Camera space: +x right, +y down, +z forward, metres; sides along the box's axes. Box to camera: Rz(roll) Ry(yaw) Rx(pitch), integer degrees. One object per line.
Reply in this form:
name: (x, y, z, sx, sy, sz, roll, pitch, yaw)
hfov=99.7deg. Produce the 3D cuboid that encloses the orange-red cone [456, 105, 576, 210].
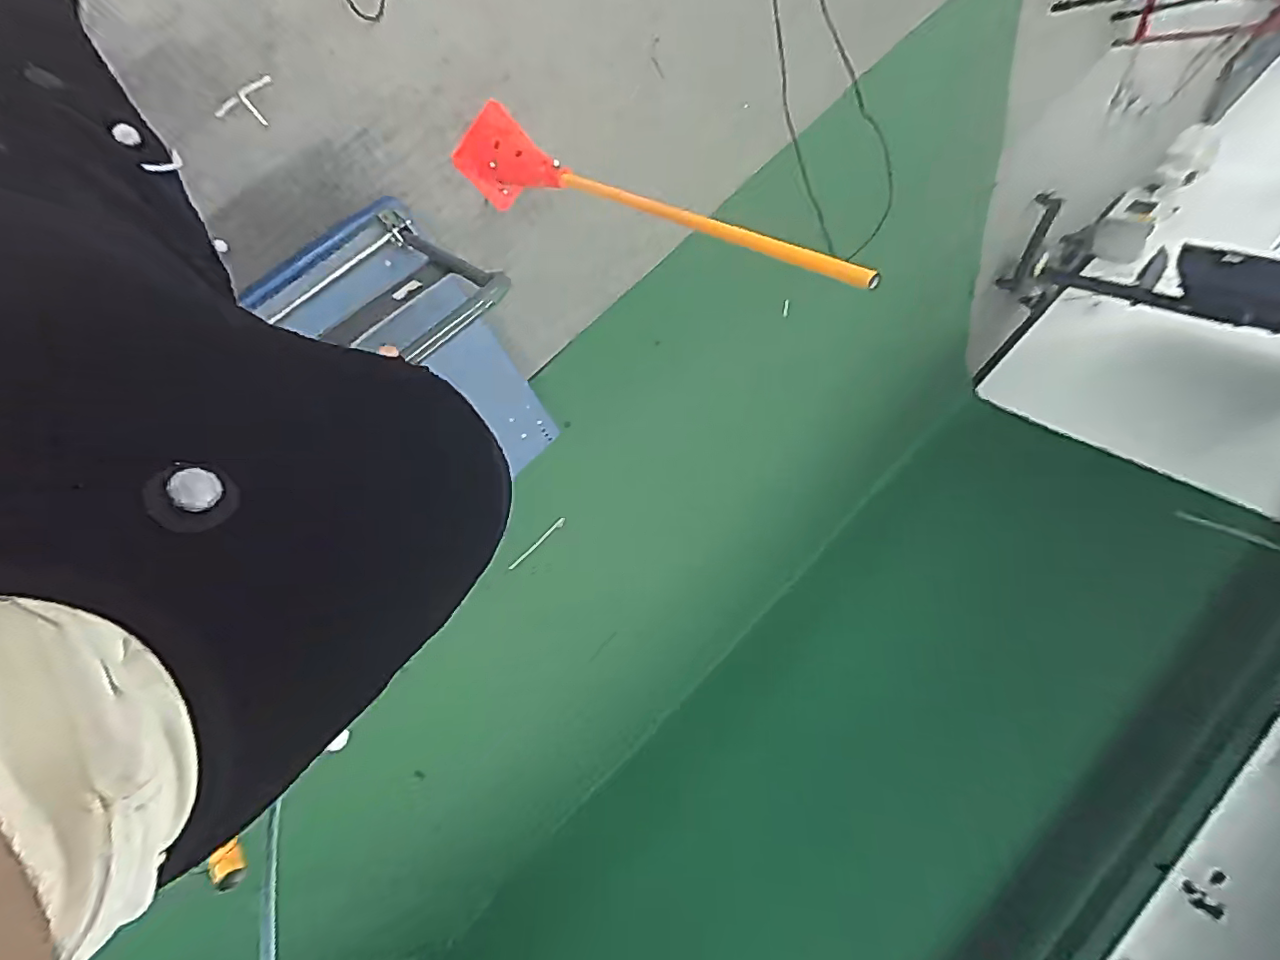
orange-red cone: (-0.275, -0.793, 1.372, 0.199, 0.360, 0.198, -55, 143, 3)
